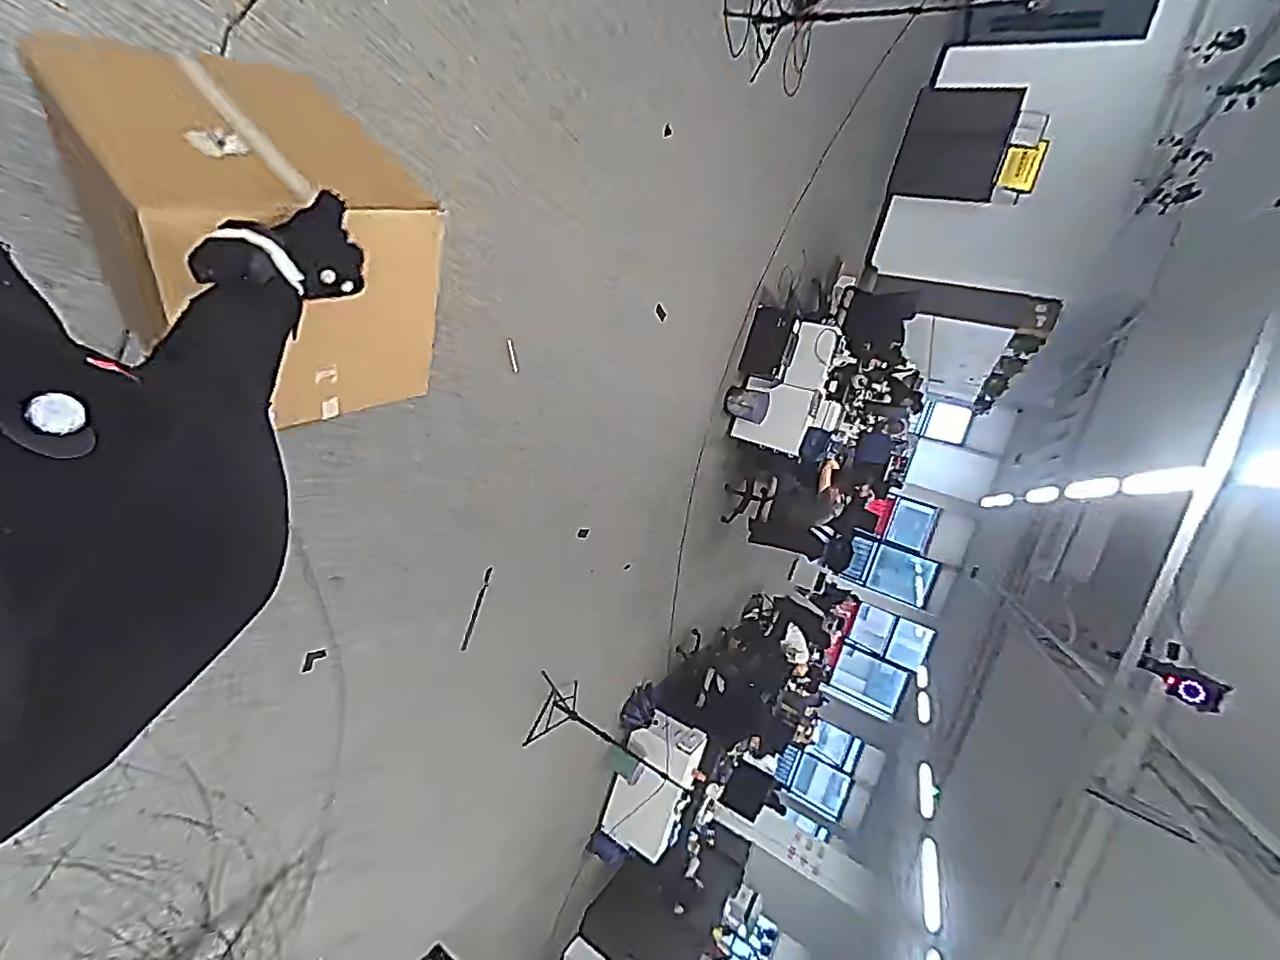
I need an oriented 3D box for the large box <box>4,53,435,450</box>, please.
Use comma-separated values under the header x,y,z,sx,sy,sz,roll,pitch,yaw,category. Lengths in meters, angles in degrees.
x,y,z,sx,sy,sz,roll,pitch,yaw,category
-0.554,-0.316,0.768,0.320,0.408,0.320,-29,157,-41,large box
